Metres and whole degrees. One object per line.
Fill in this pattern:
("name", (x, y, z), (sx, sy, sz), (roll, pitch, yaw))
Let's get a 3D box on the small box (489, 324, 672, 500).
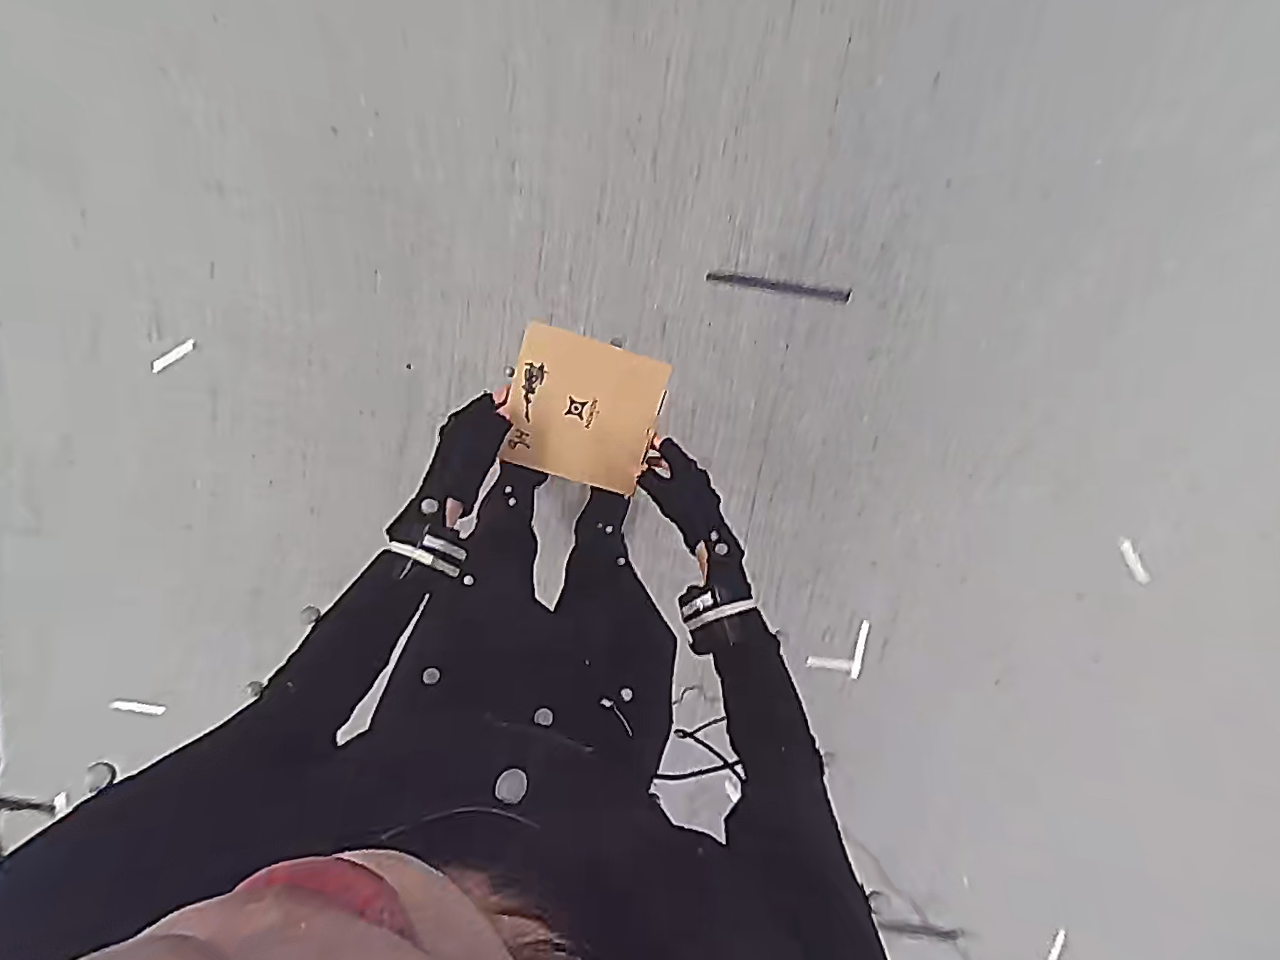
("small box", (-0.075, -0.092, 0.697), (0.179, 0.176, 0.168), (16, 101, -8))
